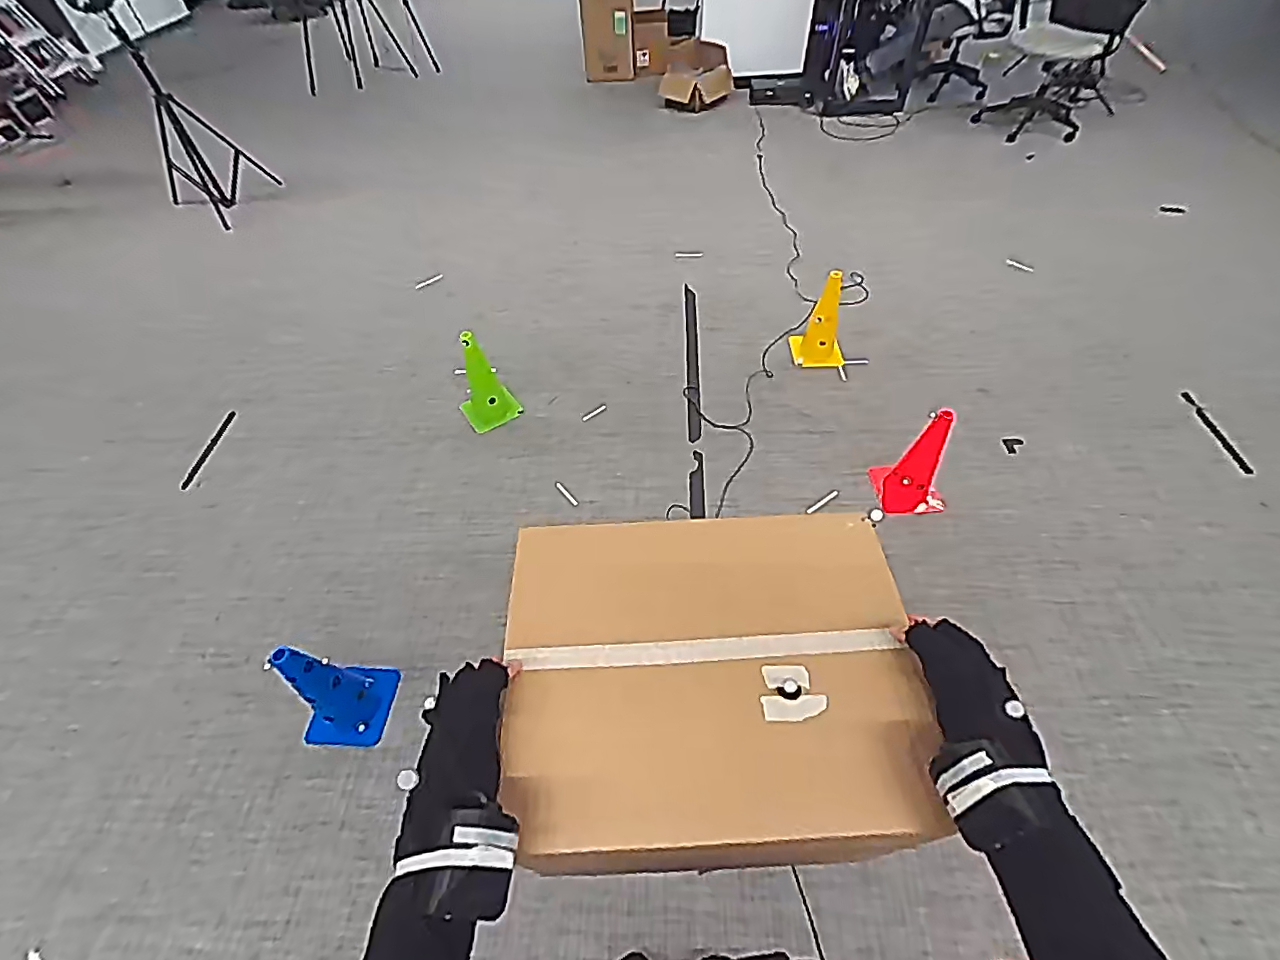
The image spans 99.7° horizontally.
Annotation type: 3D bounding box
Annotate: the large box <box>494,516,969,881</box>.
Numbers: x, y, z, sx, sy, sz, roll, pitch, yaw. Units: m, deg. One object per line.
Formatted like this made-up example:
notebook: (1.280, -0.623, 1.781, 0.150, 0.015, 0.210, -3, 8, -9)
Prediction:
large box: (0.070, 0.266, 0.649, 0.408, 0.320, 0.320, -3, 51, -1)

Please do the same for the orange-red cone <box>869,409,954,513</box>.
orange-red cone: (0.878, -0.080, 1.673, 0.198, 0.360, 0.199, -2, 50, 1)

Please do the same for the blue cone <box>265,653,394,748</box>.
blue cone: (-0.774, 0.507, 1.313, 0.192, 0.380, 0.193, 1, 51, 6)

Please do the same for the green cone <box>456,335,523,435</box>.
green cone: (-0.596, -0.378, 1.995, 0.202, 0.368, 0.200, -32, 55, -19)
